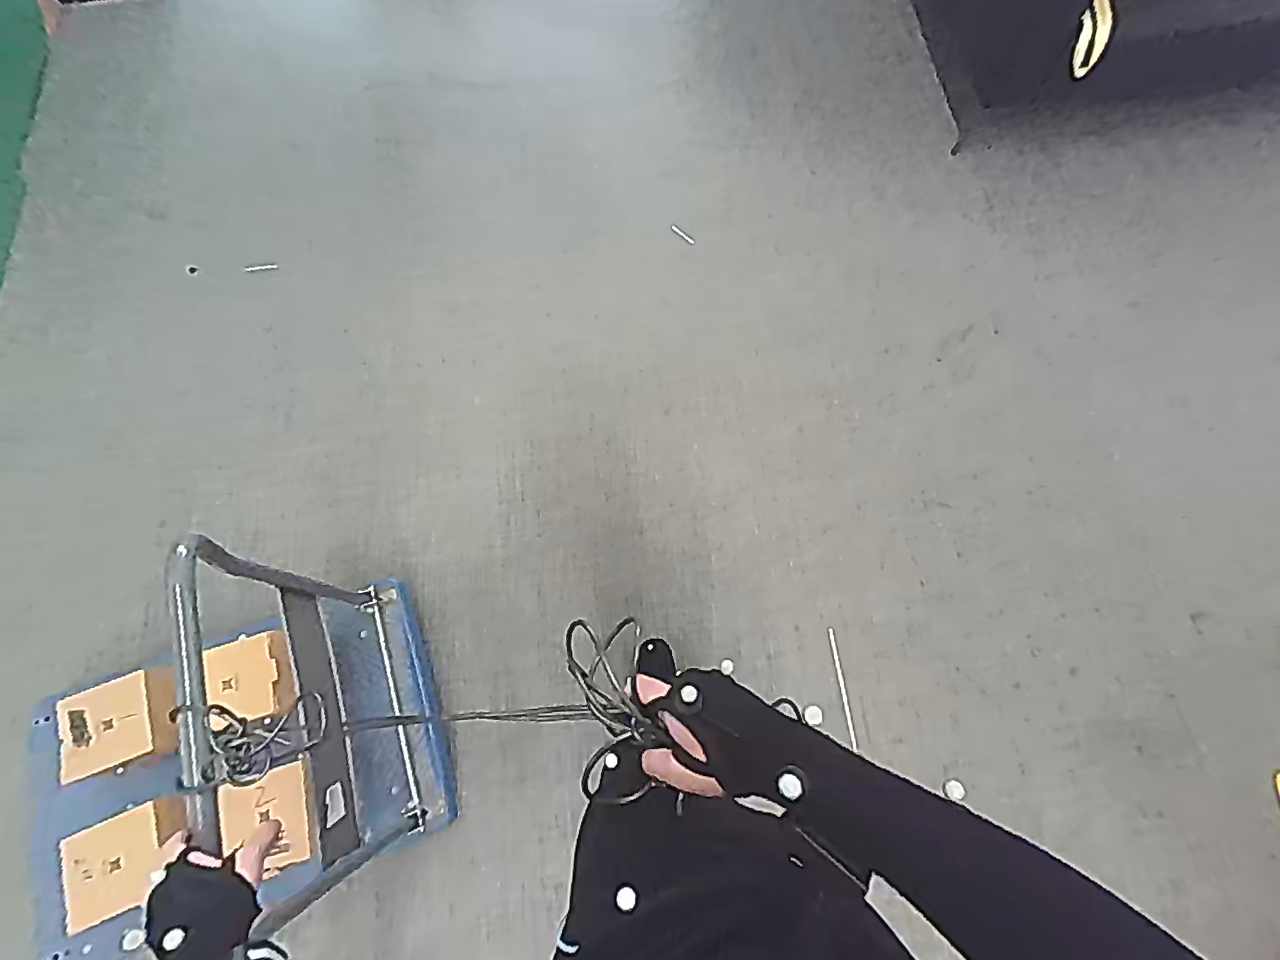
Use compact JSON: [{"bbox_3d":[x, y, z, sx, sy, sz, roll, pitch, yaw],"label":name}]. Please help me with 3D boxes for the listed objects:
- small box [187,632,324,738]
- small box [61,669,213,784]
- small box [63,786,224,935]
[{"bbox_3d":[-0.831,0.442,1.179,0.179,0.176,0.168,-18,73,-4],"label":"small box"},{"bbox_3d":[-1.065,0.517,1.158,0.179,0.176,0.168,-21,74,-6],"label":"small box"},{"bbox_3d":[-0.979,0.746,1.085,0.179,0.176,0.168,-22,73,-6],"label":"small box"}]
